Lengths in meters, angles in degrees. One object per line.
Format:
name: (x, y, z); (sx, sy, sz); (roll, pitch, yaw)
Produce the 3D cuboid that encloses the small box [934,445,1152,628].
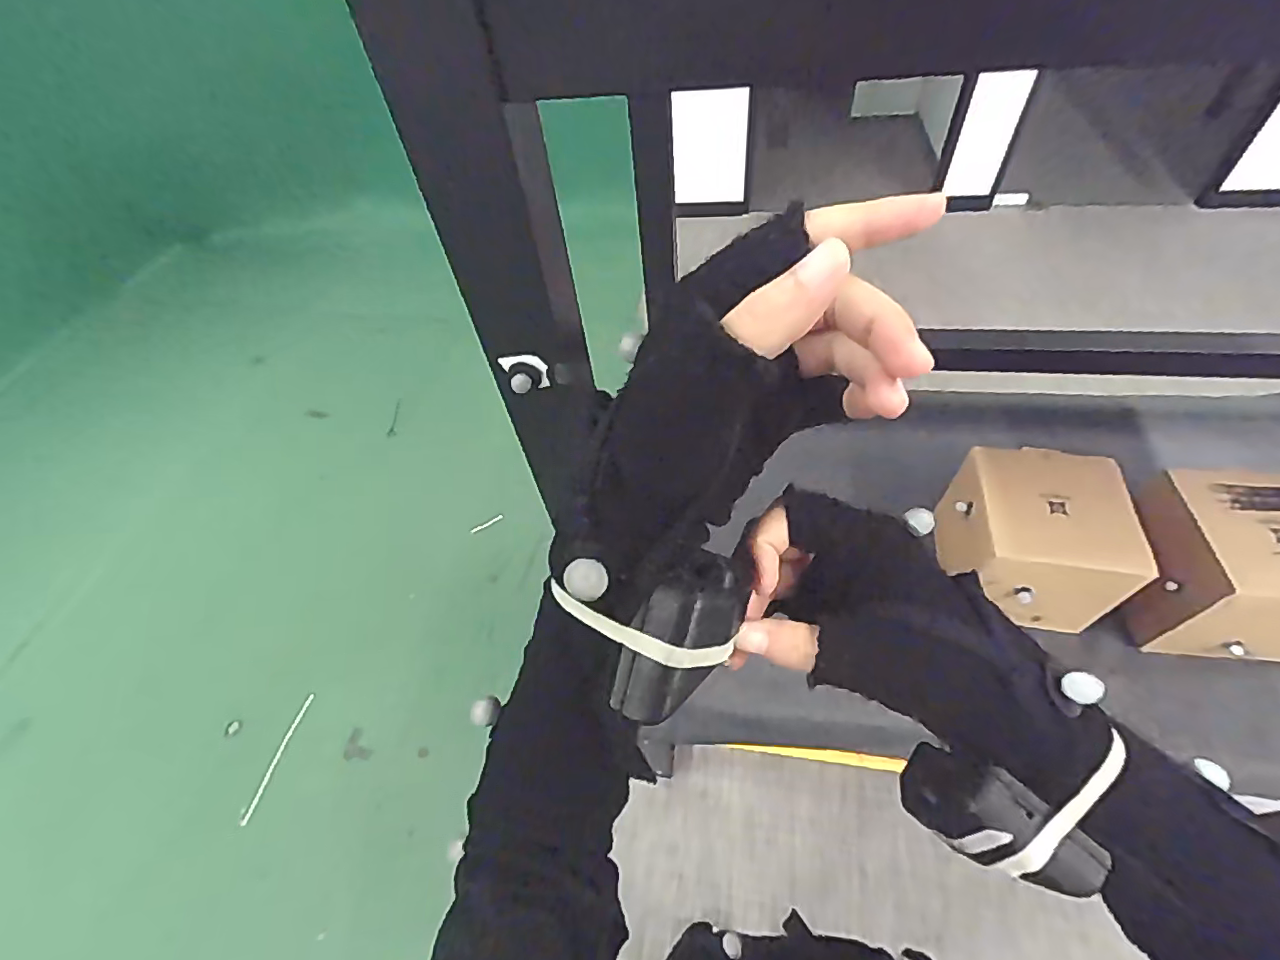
small box: (0.514, 0.079, 0.724); (0.168, 0.176, 0.179); (7, 53, 12)
